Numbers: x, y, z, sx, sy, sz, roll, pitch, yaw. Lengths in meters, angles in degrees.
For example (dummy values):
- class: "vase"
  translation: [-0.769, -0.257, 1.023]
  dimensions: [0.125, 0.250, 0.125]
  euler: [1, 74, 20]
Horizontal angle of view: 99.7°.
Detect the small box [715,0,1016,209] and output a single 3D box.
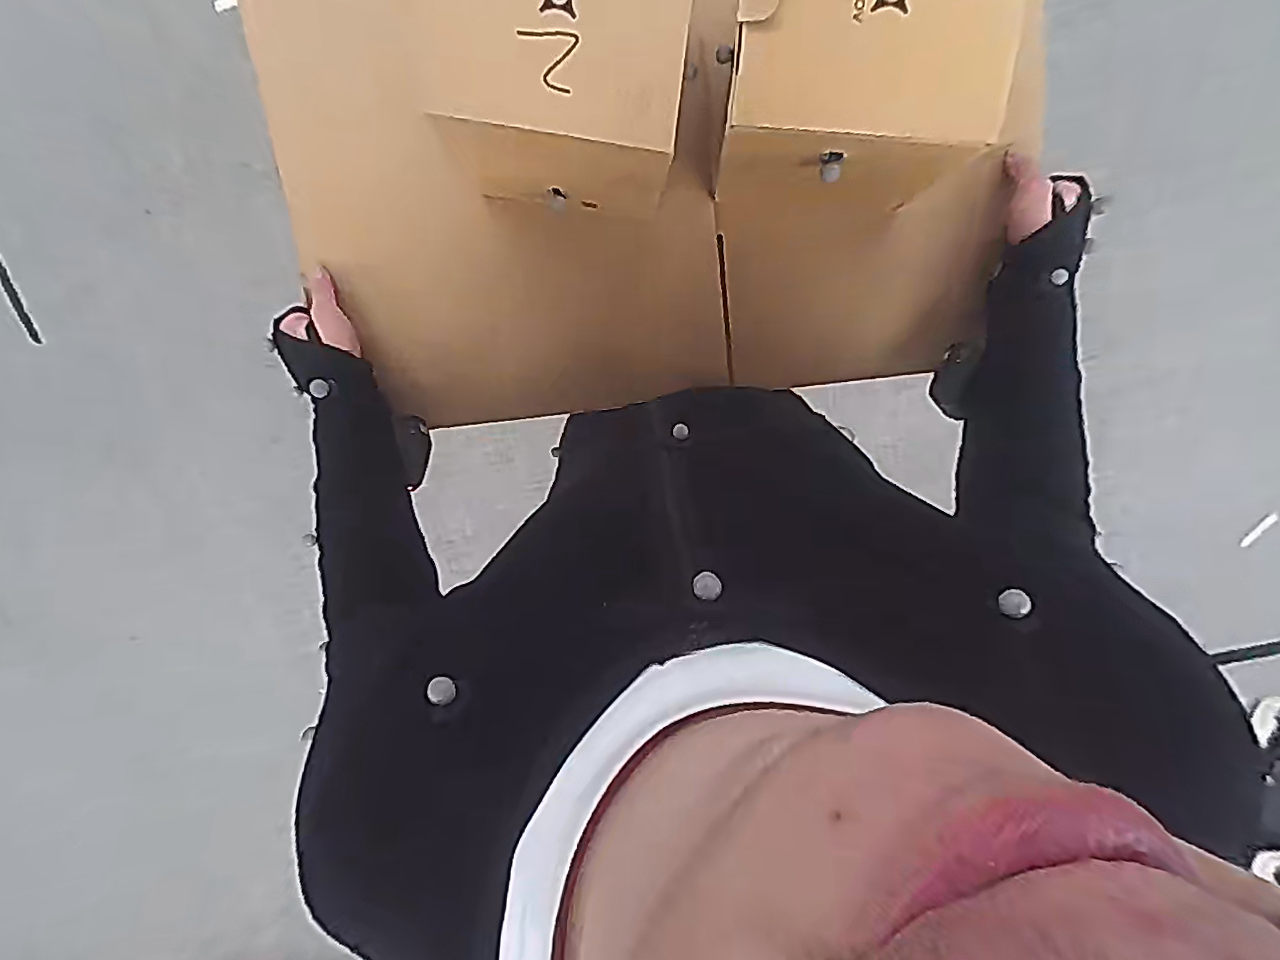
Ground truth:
- class: "small box"
  translation: [0.159, -0.326, 0.427]
  dimensions: [0.179, 0.176, 0.168]
  euler: [7, 103, 4]
